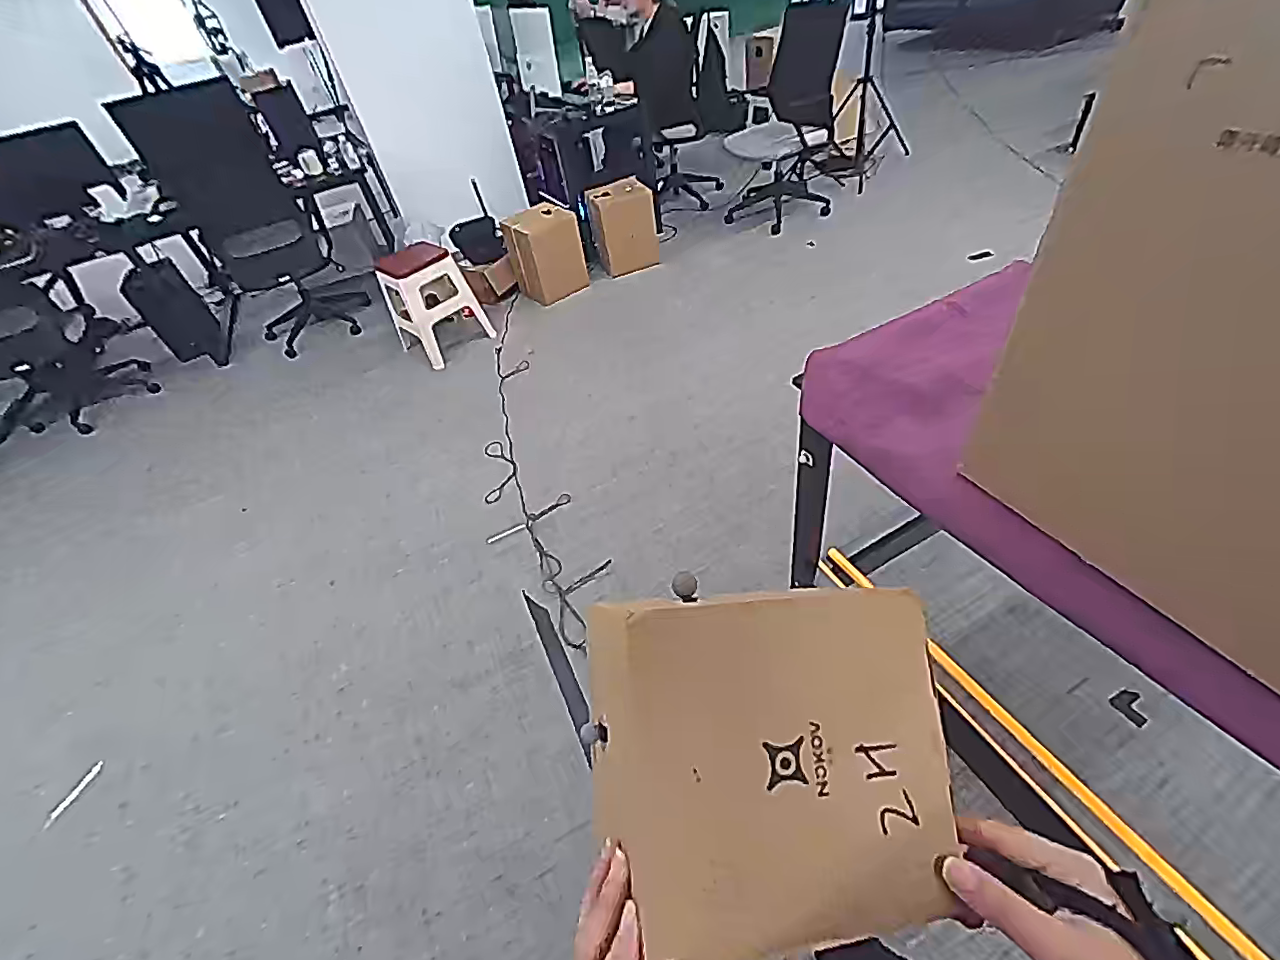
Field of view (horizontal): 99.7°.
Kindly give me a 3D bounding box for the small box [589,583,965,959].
[{"bbox_3d":[0.062,0.159,0.353,0.179,0.176,0.168,-2,79,-13],"label":"small box"}]
